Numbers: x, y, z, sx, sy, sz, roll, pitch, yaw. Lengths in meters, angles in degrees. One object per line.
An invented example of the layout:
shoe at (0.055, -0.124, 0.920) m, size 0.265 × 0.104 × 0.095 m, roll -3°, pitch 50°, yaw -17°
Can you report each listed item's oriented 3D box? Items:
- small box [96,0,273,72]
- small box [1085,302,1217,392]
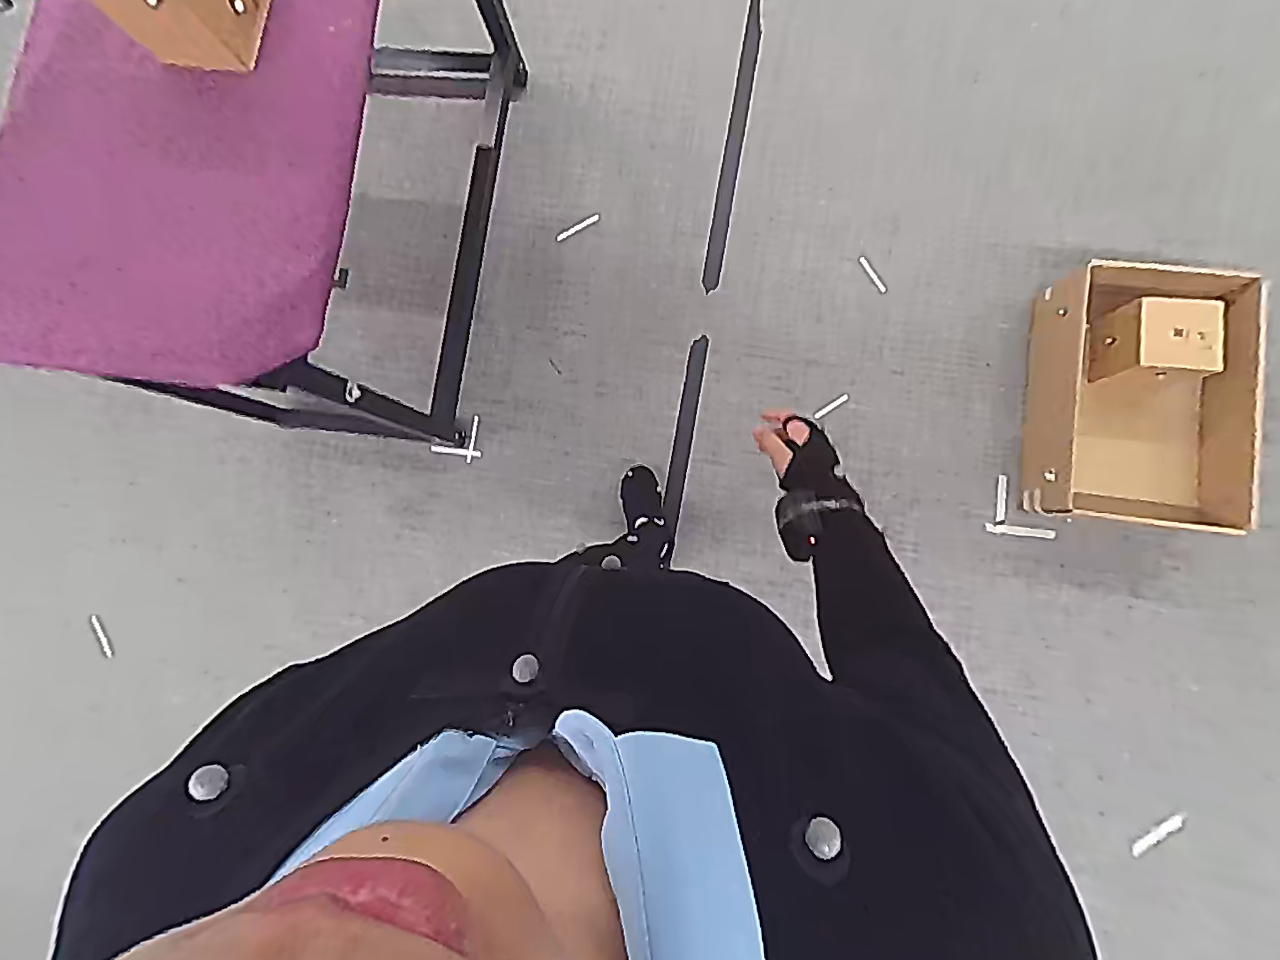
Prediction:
small box at (-0.723, -0.776, 0.836) m, size 0.179 × 0.176 × 0.168 m, roll 10°, pitch 85°, yaw 5°
small box at (1.240, -0.320, 1.323) m, size 0.179 × 0.176 × 0.168 m, roll 6°, pitch 86°, yaw 5°
